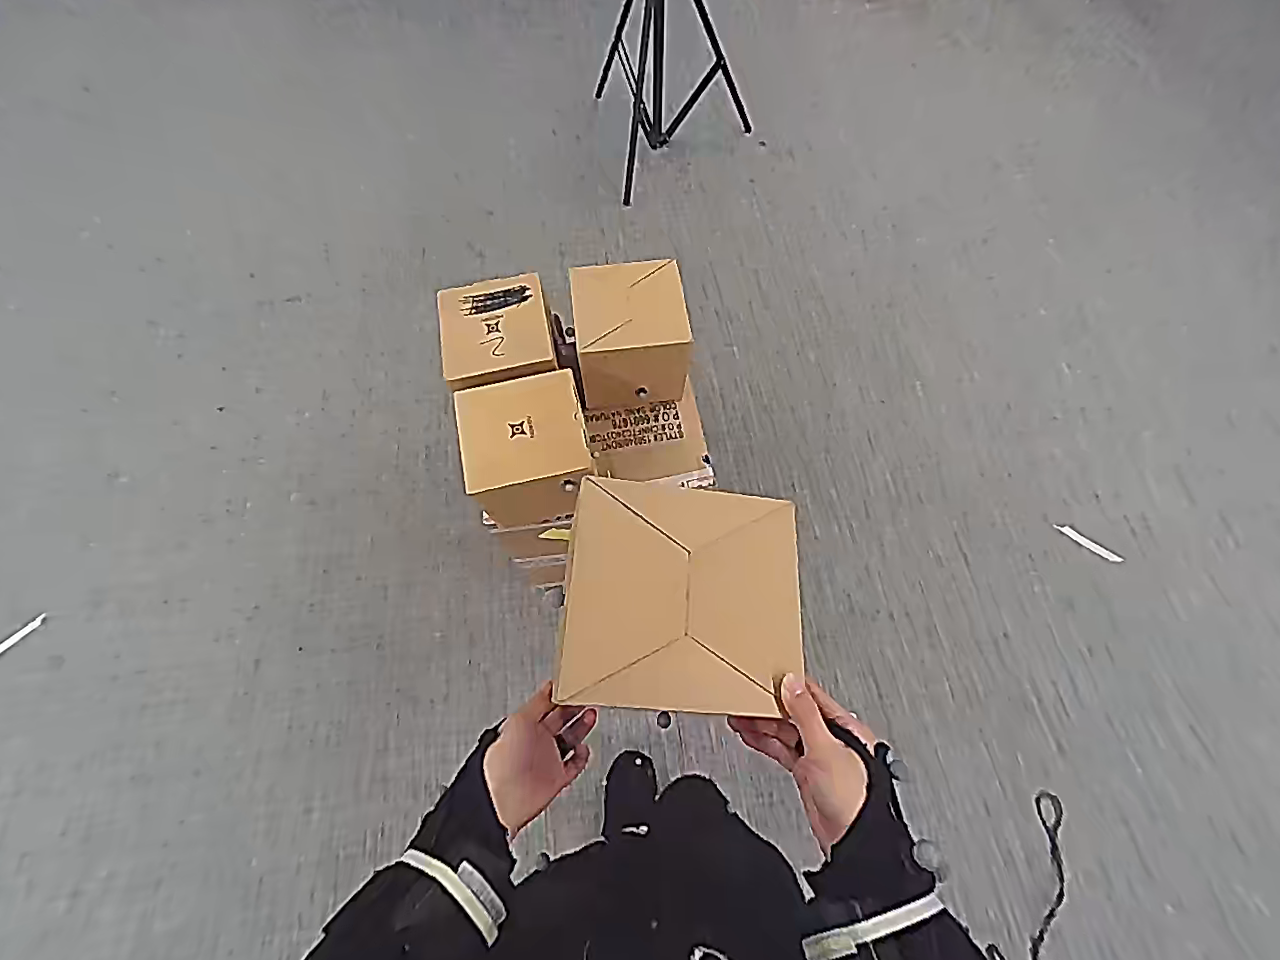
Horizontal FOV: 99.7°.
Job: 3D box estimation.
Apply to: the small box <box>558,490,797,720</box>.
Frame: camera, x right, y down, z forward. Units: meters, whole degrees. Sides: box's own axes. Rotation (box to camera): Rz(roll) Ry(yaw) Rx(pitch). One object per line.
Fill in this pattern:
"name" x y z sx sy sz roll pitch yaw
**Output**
"small box" 0.024 0.120 0.484 0.179 0.176 0.168 7 66 -9
